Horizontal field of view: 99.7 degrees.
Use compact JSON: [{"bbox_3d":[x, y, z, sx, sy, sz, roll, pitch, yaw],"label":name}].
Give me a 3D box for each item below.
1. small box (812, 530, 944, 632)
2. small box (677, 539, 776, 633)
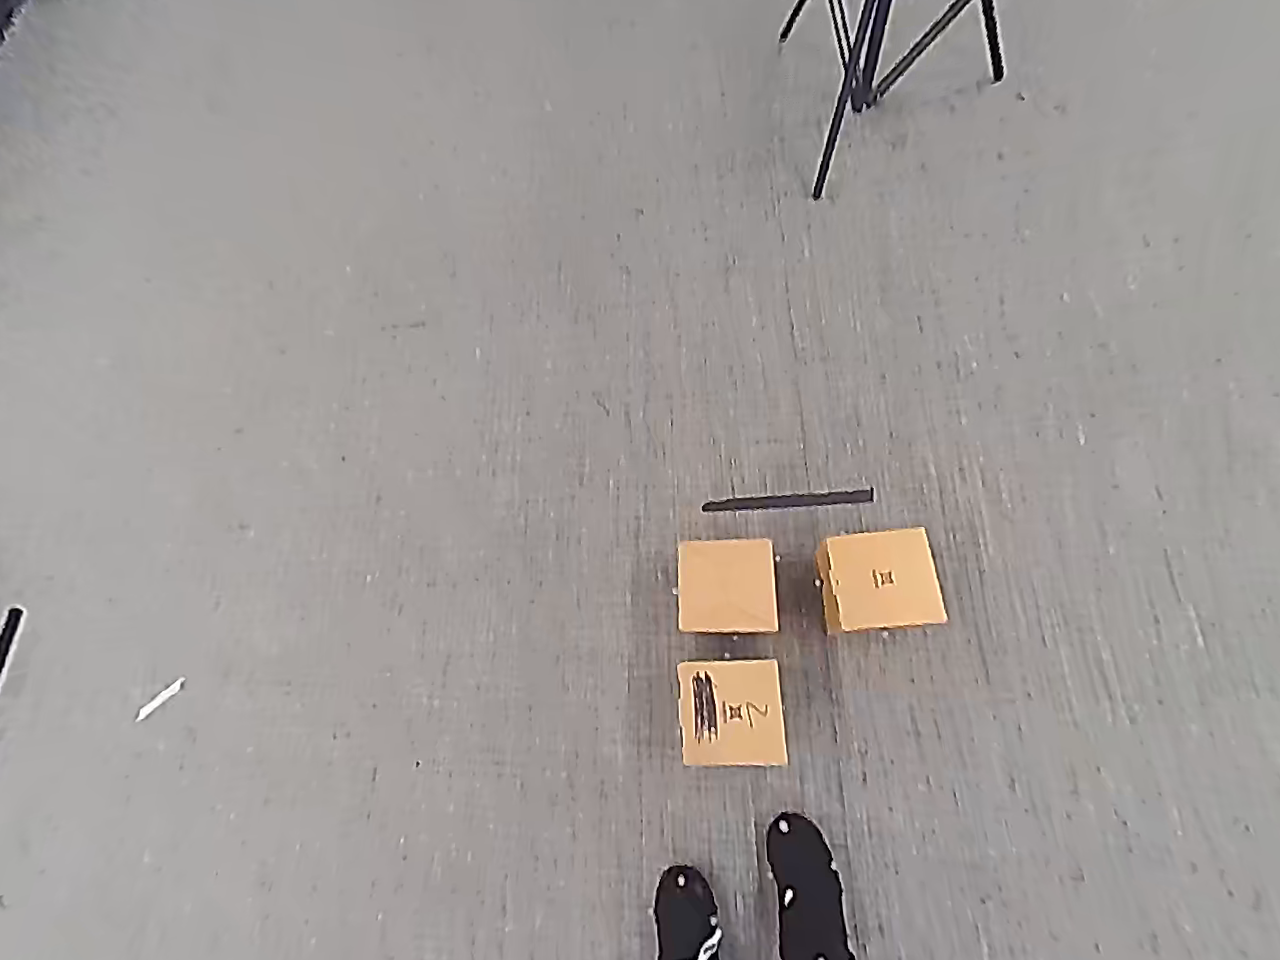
[{"bbox_3d":[0.438,0.197,1.023,0.179,0.176,0.168,-7,71,8],"label":"small box"},{"bbox_3d":[0.170,0.214,1.060,0.179,0.176,0.168,-2,72,9],"label":"small box"}]
